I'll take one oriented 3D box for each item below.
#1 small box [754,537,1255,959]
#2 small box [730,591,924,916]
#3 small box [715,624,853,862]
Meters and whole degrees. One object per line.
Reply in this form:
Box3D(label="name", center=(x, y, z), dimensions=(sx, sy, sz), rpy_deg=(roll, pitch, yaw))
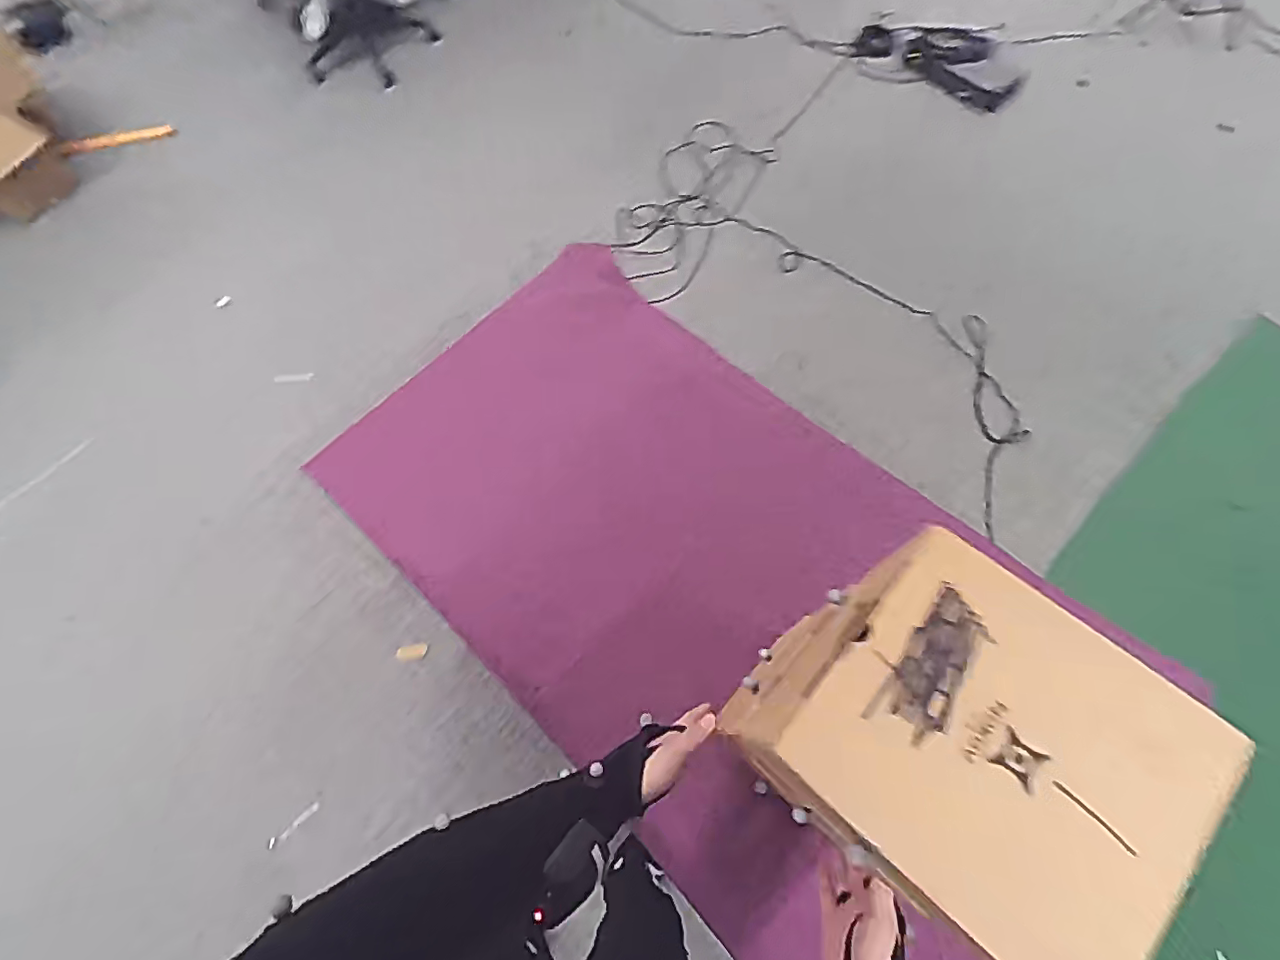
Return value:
Box3D(label="small box", center=(0.194, 0.171, 0.349), dimensions=(0.179, 0.176, 0.168), rpy_deg=(40, 76, 18))
Box3D(label="small box", center=(0.201, 0.235, 0.499), dimensions=(0.179, 0.176, 0.168), rpy_deg=(41, 76, 19))
Box3D(label="small box", center=(0.209, 0.301, 0.649), dimensions=(0.179, 0.176, 0.168), rpy_deg=(40, 74, 18))
